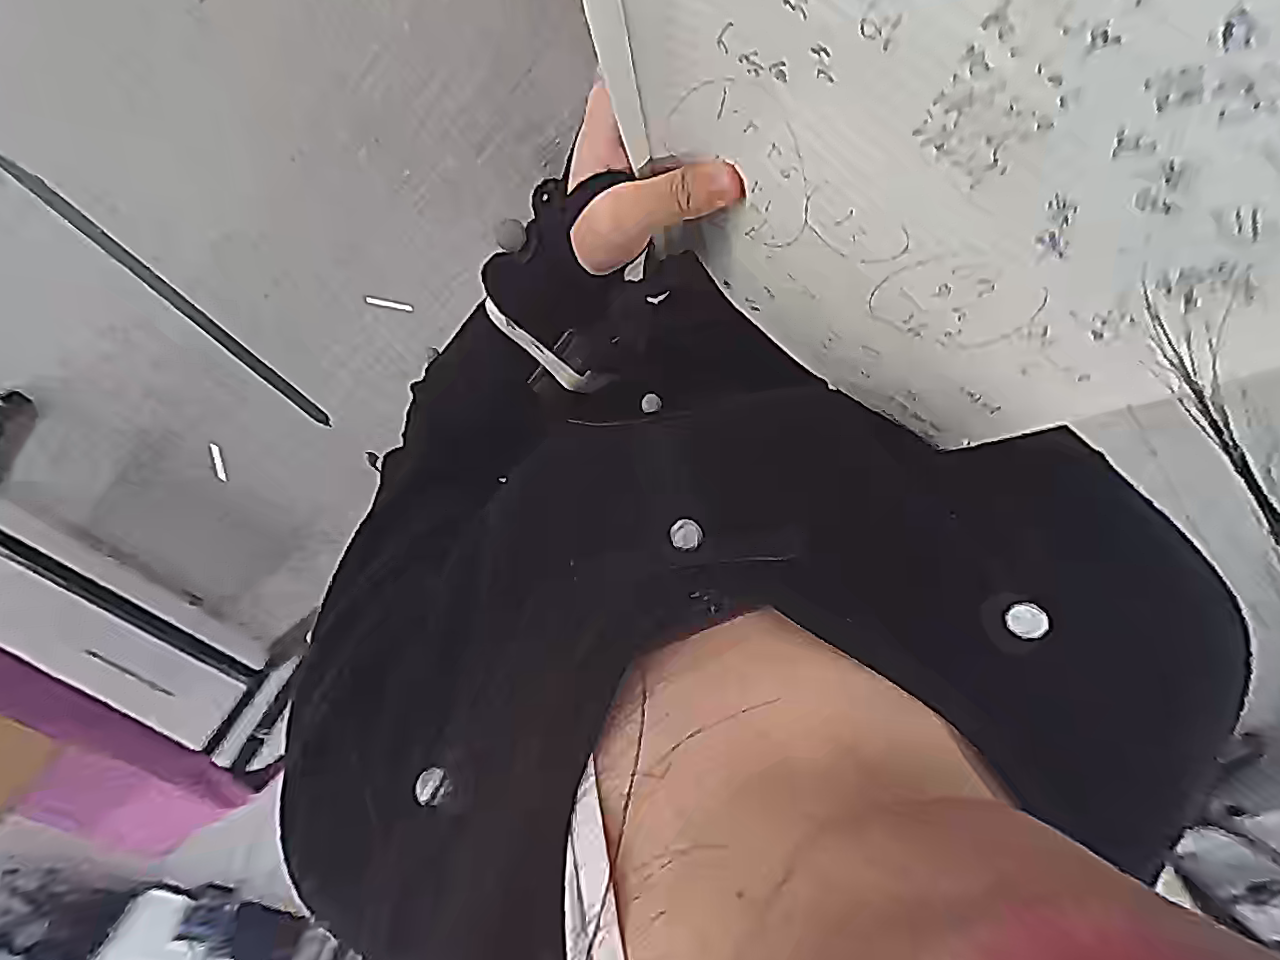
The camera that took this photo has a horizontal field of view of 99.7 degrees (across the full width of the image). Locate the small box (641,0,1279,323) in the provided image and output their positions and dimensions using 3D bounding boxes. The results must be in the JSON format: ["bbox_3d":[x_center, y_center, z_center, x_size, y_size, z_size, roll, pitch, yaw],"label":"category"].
[{"bbox_3d":[0.120,-0.202,0.209,0.168,0.179,0.176,-41,92,-11],"label":"small box"}]
